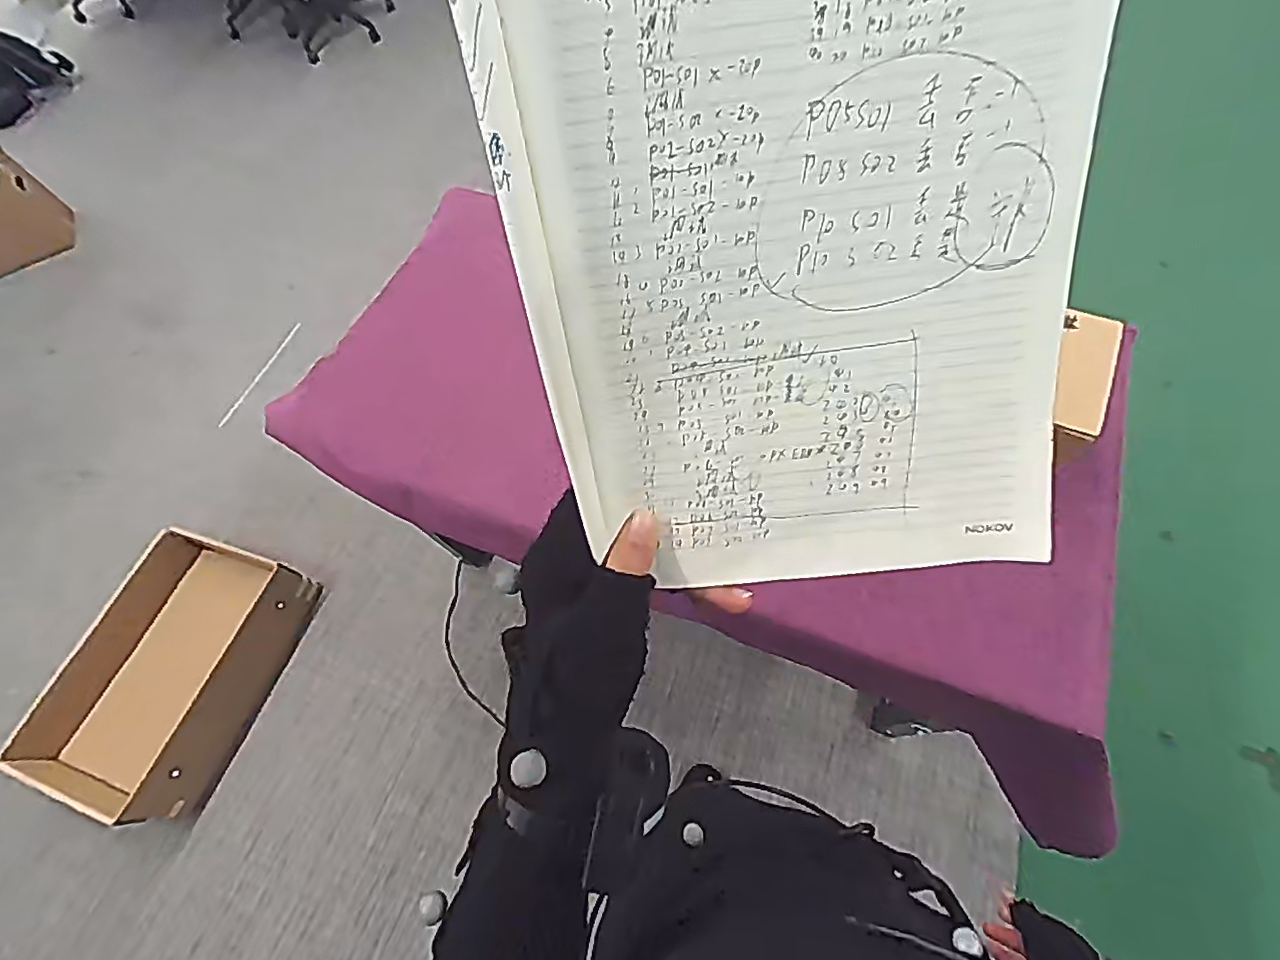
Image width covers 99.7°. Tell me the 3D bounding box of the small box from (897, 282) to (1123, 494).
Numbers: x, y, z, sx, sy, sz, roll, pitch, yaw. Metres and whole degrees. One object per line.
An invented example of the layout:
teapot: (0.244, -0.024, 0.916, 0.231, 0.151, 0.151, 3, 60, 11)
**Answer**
small box: (0.449, -0.108, 0.683, 0.168, 0.176, 0.179, 24, 69, 18)
